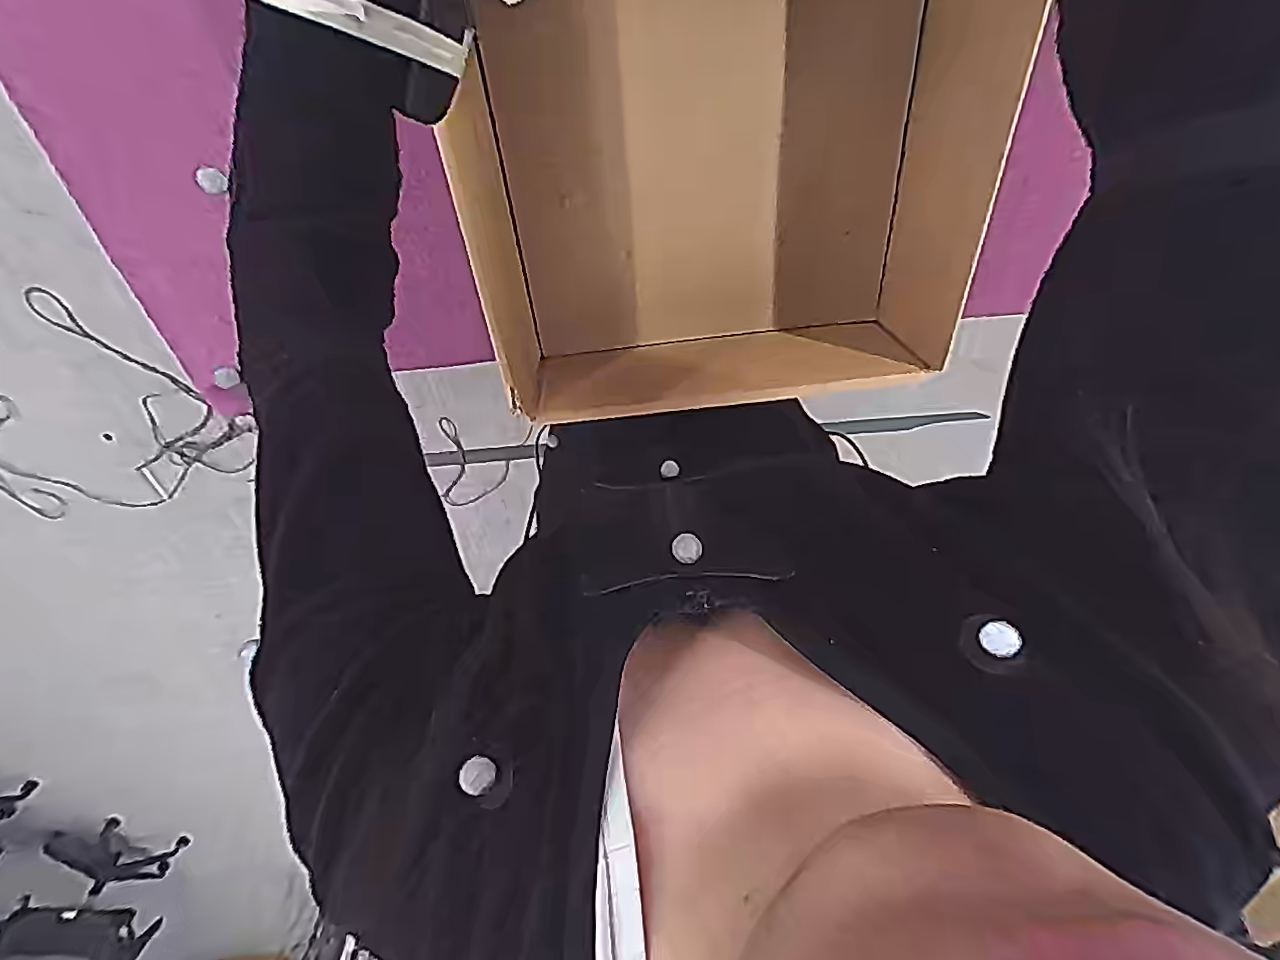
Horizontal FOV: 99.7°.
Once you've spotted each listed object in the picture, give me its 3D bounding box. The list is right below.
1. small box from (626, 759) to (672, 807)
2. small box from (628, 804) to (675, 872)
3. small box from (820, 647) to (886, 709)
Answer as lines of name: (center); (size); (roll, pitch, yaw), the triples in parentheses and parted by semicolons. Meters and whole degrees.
small box: (0.032, 1.228, 2.150); (0.168, 0.176, 0.179); (-1, 128, -3)
small box: (0.041, 1.335, 2.026); (0.168, 0.176, 0.179); (-3, 126, -1)
small box: (0.893, 0.831, 2.279); (0.179, 0.176, 0.168); (31, 120, -23)
